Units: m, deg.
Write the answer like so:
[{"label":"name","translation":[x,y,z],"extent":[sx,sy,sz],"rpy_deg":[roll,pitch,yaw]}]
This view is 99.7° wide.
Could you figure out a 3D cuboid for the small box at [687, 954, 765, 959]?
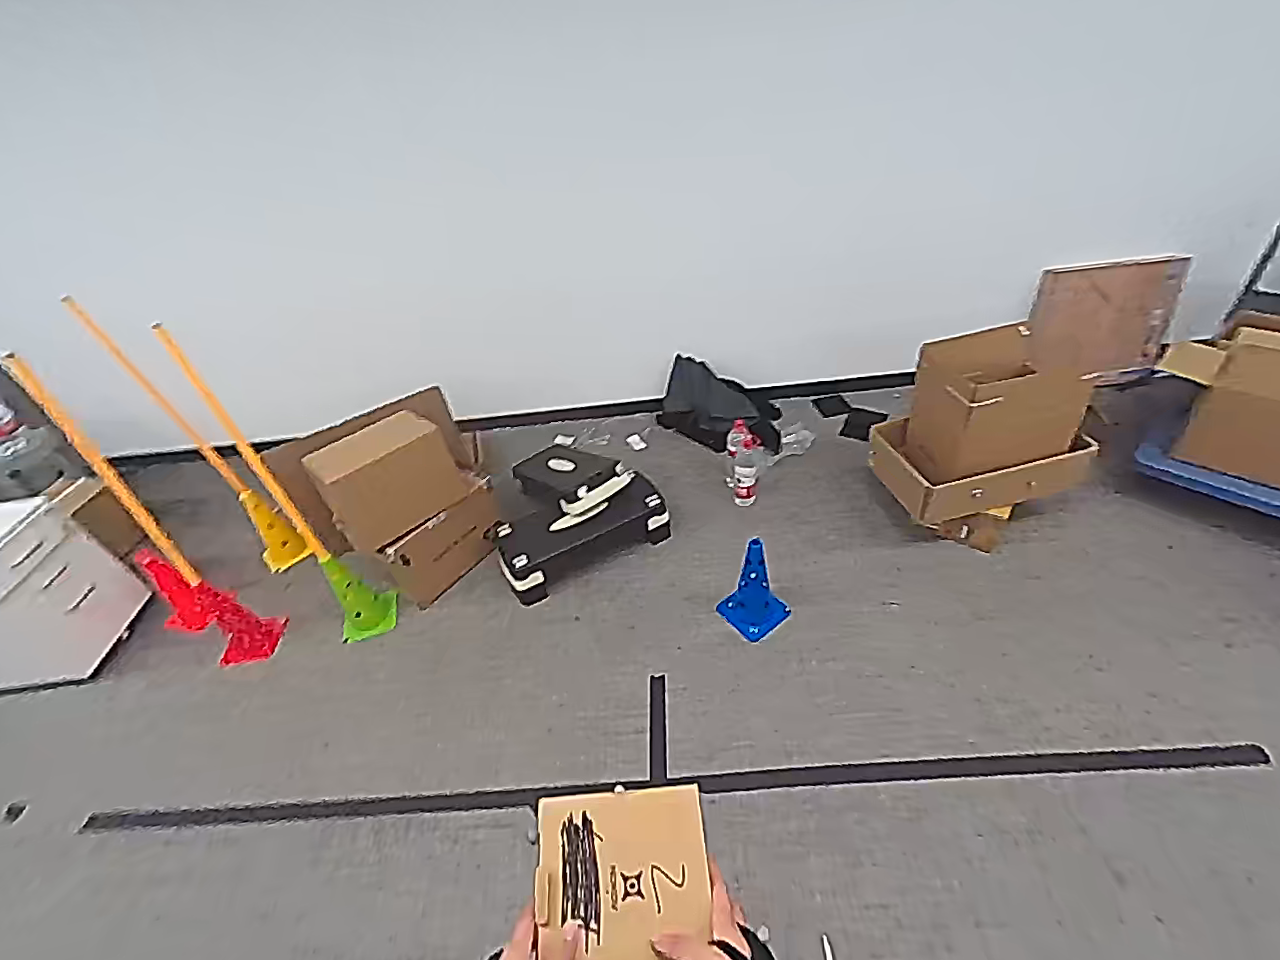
[{"label":"small box","translation":[0.189,1.097,1.099],"extent":[0.168,0.176,0.179],"rpy_deg":[-7,40,2]}]
